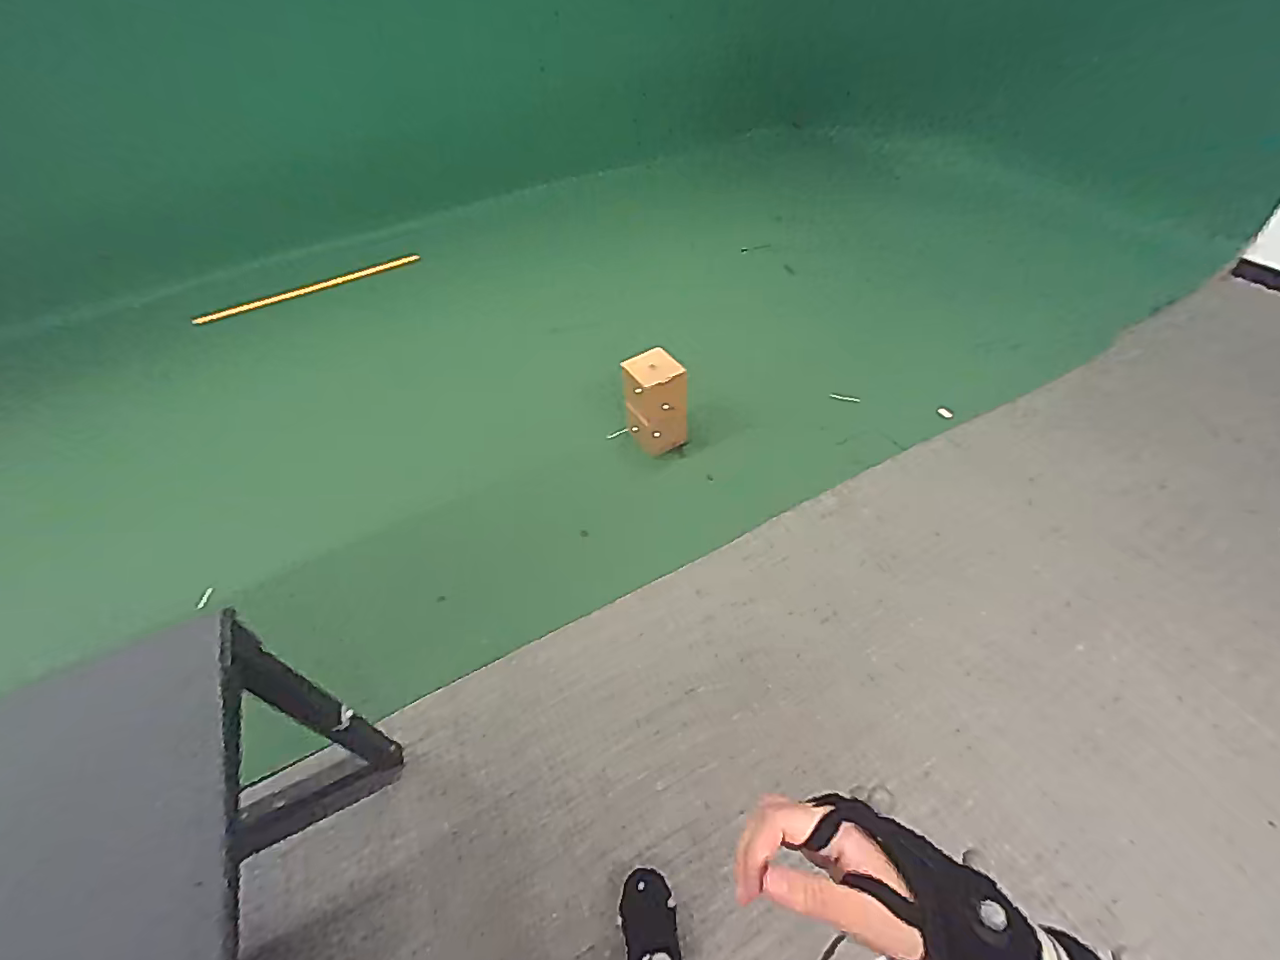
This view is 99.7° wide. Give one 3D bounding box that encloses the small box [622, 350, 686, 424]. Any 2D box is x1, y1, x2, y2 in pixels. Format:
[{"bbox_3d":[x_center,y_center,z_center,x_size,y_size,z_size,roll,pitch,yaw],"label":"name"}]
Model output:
[{"bbox_3d":[0.050,-0.332,1.936,0.168,0.176,0.179,-27,52,-18],"label":"small box"}]
